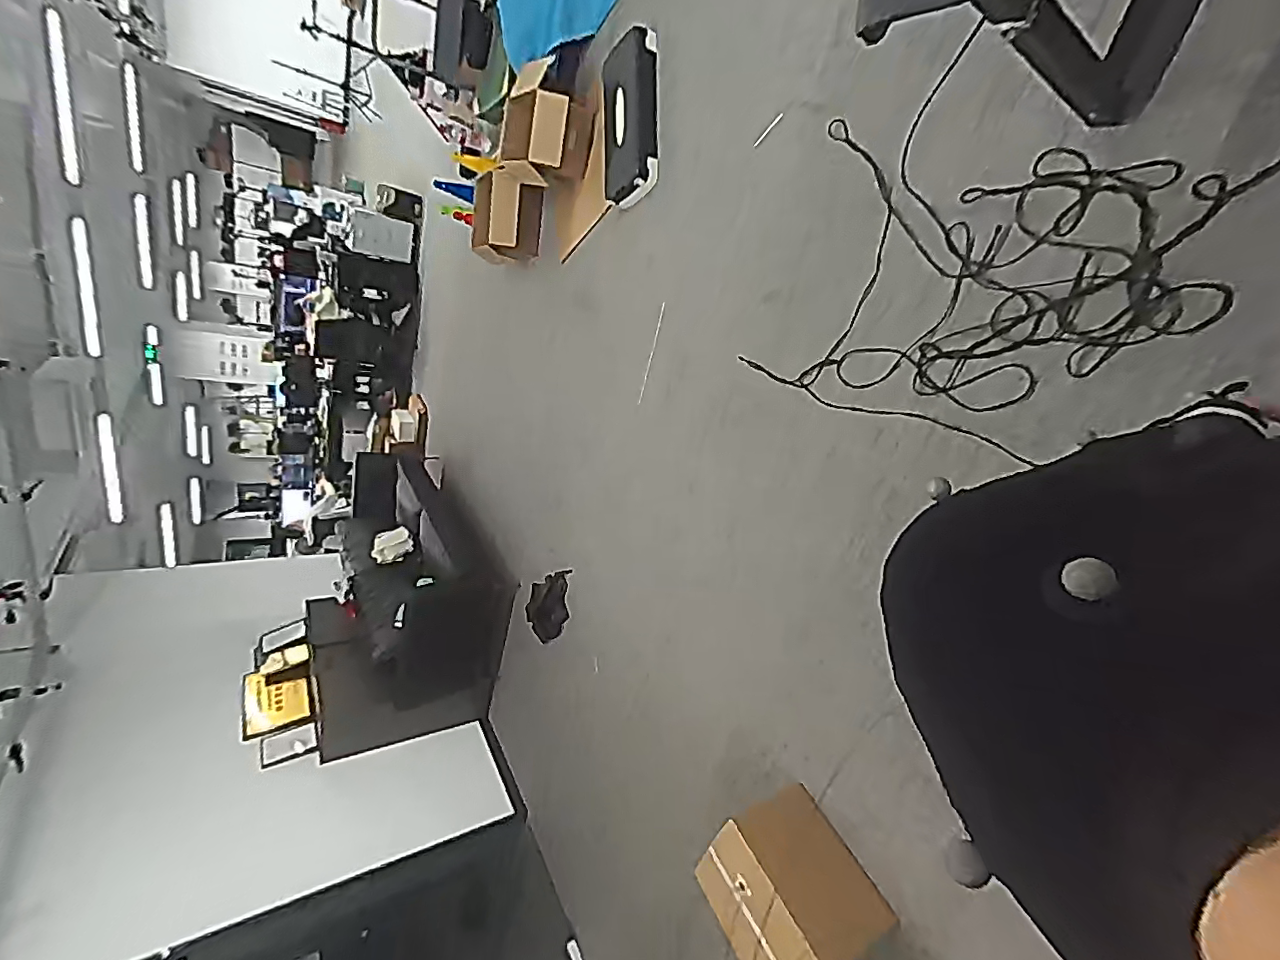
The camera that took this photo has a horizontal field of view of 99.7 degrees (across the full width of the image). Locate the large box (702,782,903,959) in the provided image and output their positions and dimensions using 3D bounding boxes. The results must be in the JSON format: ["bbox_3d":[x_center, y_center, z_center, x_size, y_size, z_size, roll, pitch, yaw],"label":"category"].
[{"bbox_3d":[0.455,1.193,1.574,0.408,0.320,0.320,51,130,44],"label":"large box"}]
